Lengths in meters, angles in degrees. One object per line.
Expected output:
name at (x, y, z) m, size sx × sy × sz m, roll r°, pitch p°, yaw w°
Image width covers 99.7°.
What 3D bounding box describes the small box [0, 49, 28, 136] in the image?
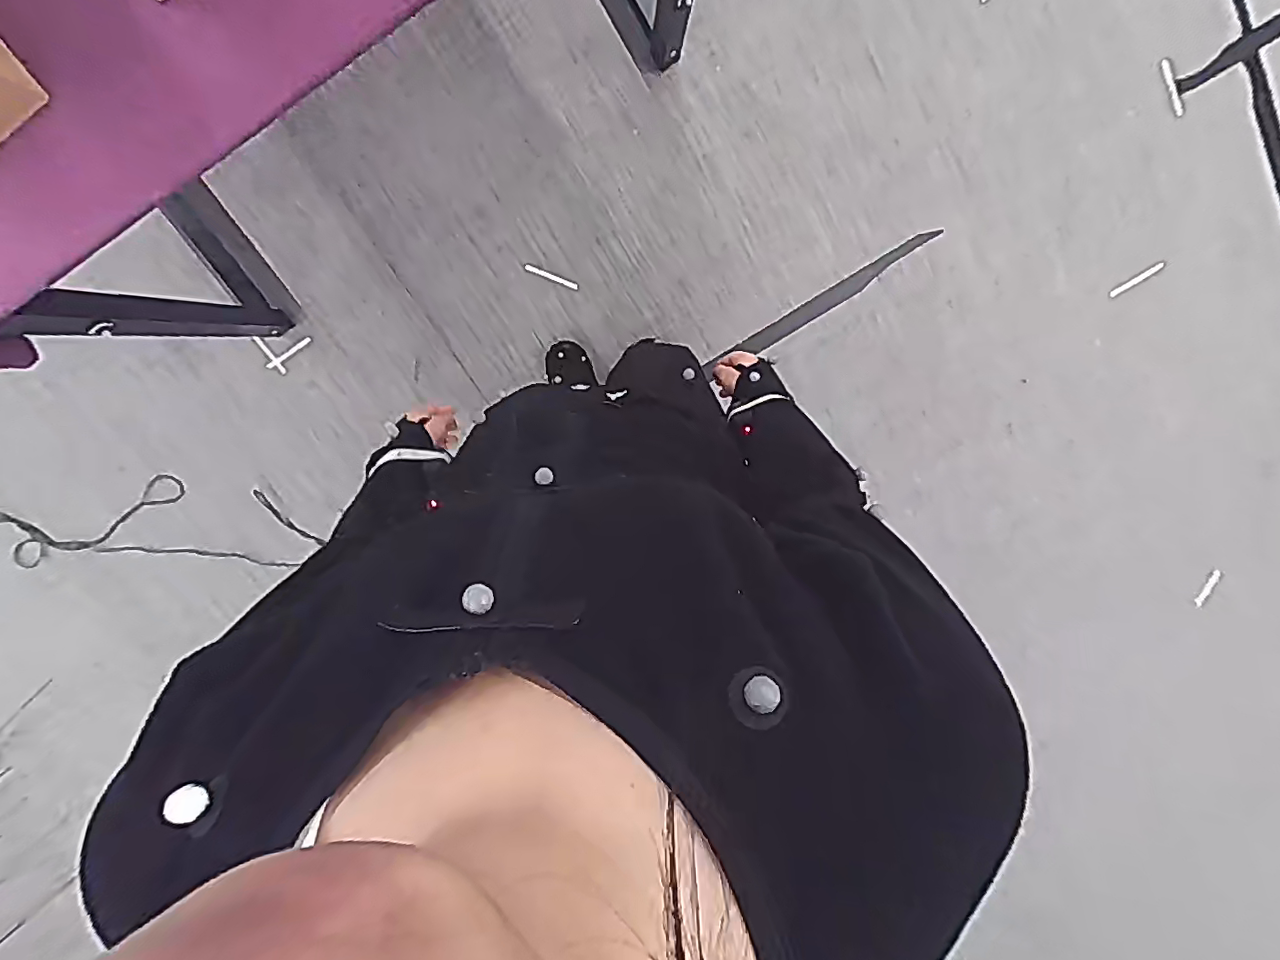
small box at (-0.771, -0.426, 0.514) m, size 0.179 × 0.176 × 0.168 m, roll -34°, pitch 102°, yaw 6°
